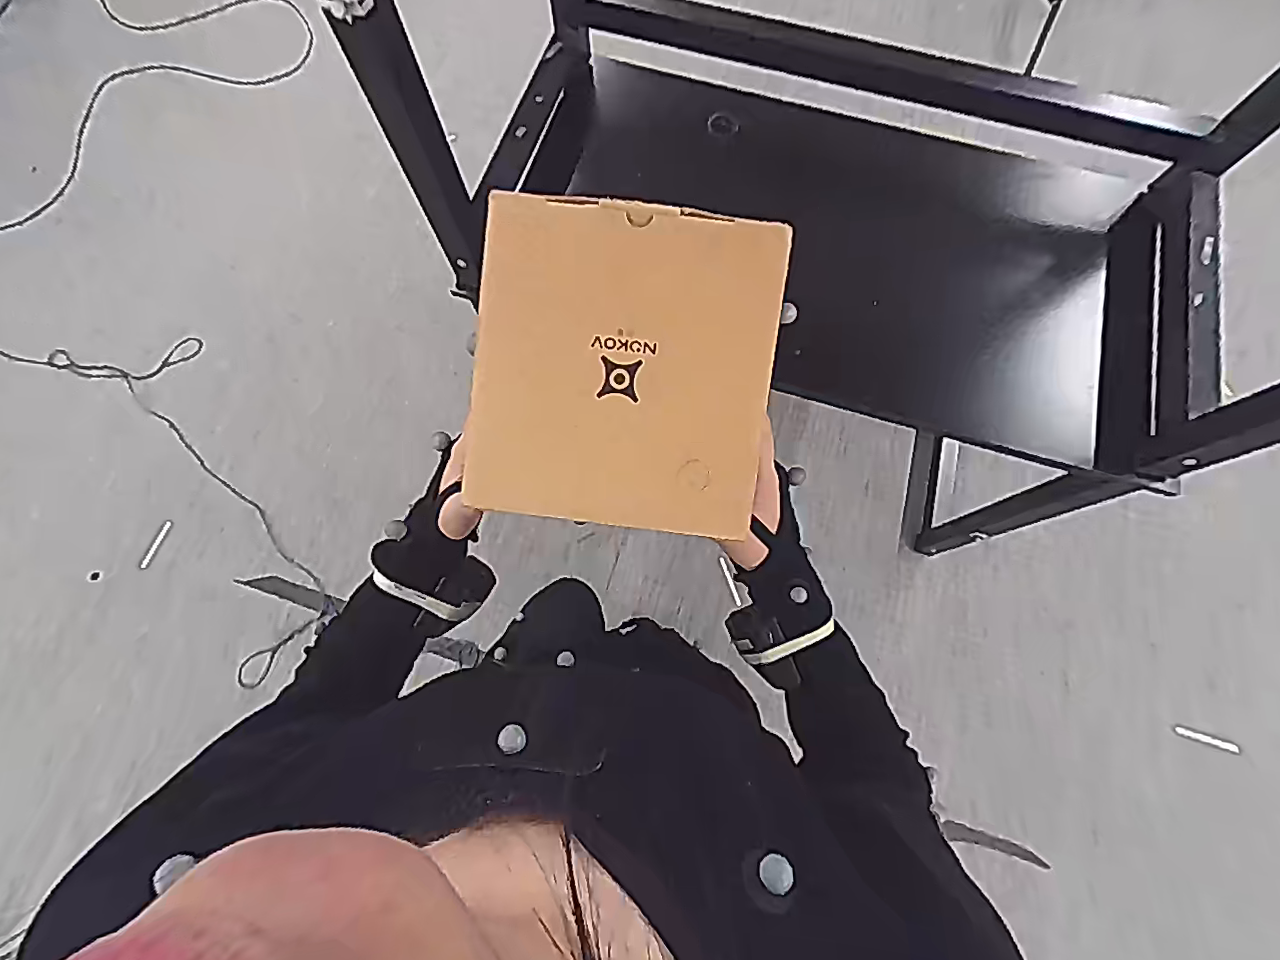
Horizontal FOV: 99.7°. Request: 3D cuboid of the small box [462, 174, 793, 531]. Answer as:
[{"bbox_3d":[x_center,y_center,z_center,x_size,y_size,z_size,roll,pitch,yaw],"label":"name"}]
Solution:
[{"bbox_3d":[-0.008,-0.074,0.371,0.168,0.176,0.179,7,95,0],"label":"small box"}]
